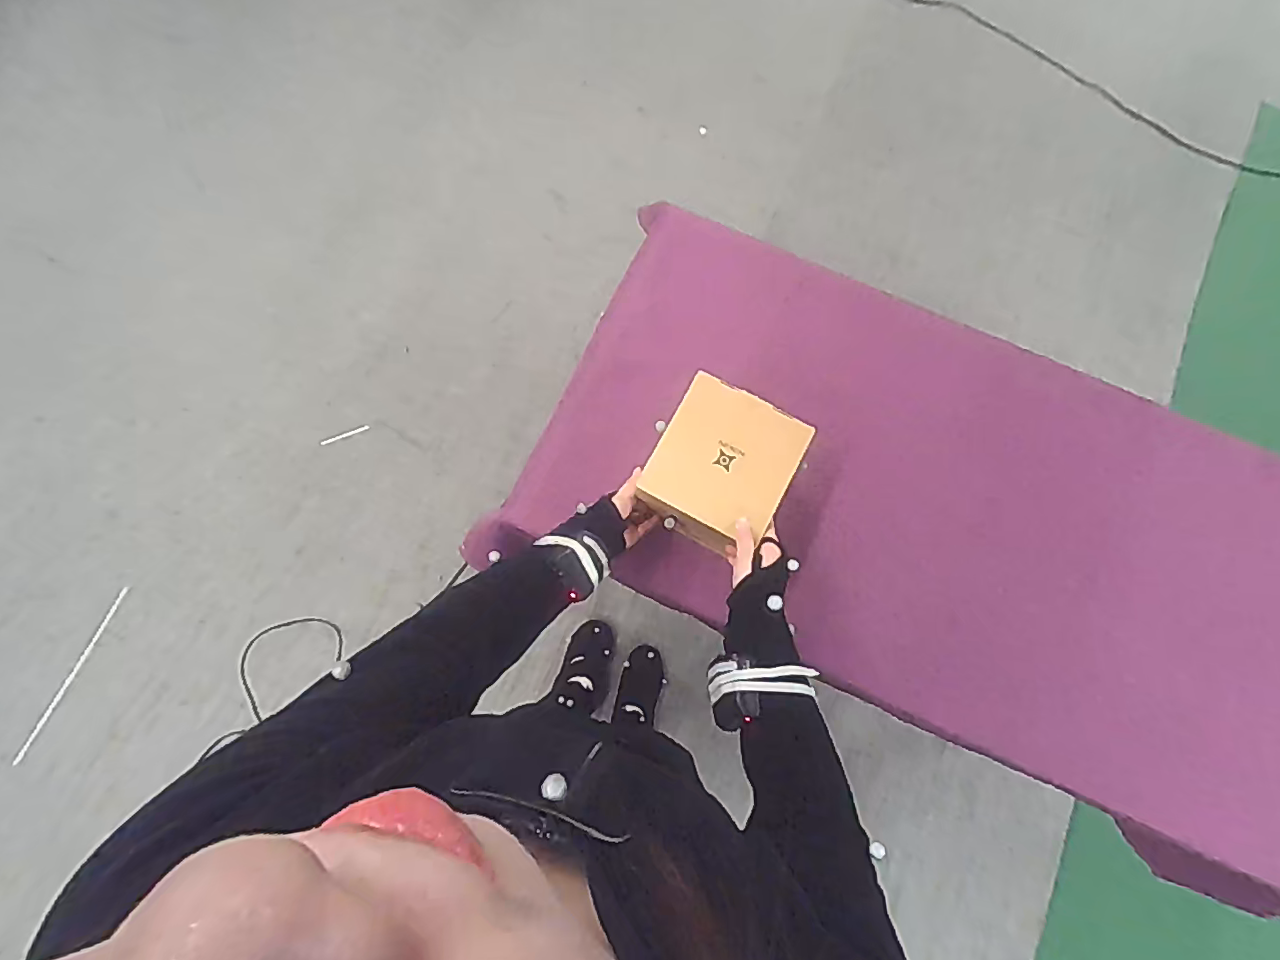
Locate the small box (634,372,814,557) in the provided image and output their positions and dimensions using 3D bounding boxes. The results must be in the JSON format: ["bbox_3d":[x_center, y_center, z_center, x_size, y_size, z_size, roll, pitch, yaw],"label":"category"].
[{"bbox_3d":[0.105,-0.009,0.737,0.168,0.176,0.179,28,78,6],"label":"small box"}]
